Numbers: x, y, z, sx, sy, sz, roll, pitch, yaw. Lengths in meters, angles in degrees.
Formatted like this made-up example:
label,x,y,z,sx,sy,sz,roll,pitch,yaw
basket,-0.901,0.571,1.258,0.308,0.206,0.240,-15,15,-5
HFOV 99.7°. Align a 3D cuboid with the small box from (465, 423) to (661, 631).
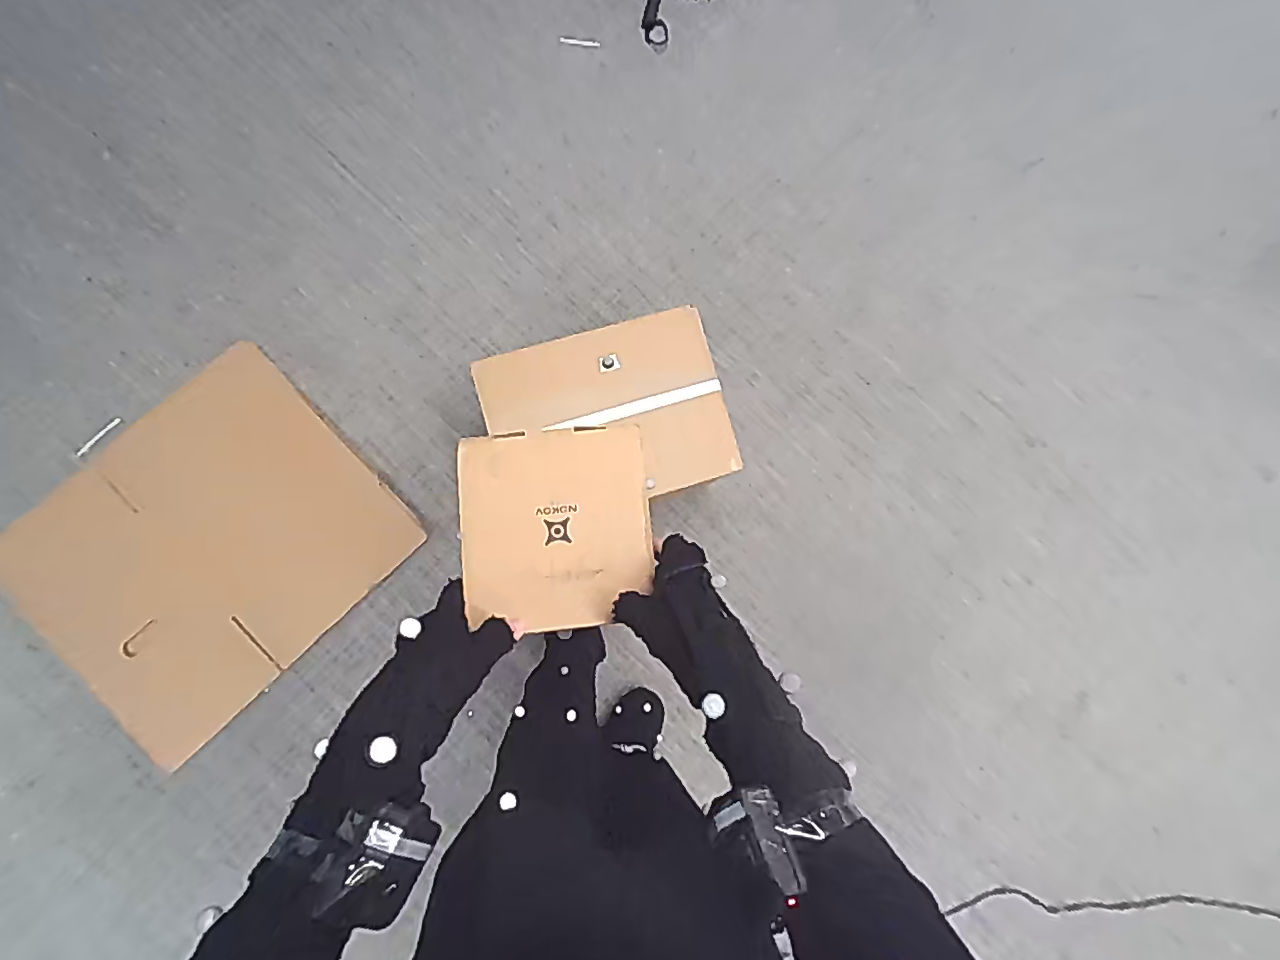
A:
label,x,y,z,sx,sy,sz,roll,pitch,yaw
small box,-0.076,0.054,0.567,0.168,0.176,0.179,-7,80,-4
